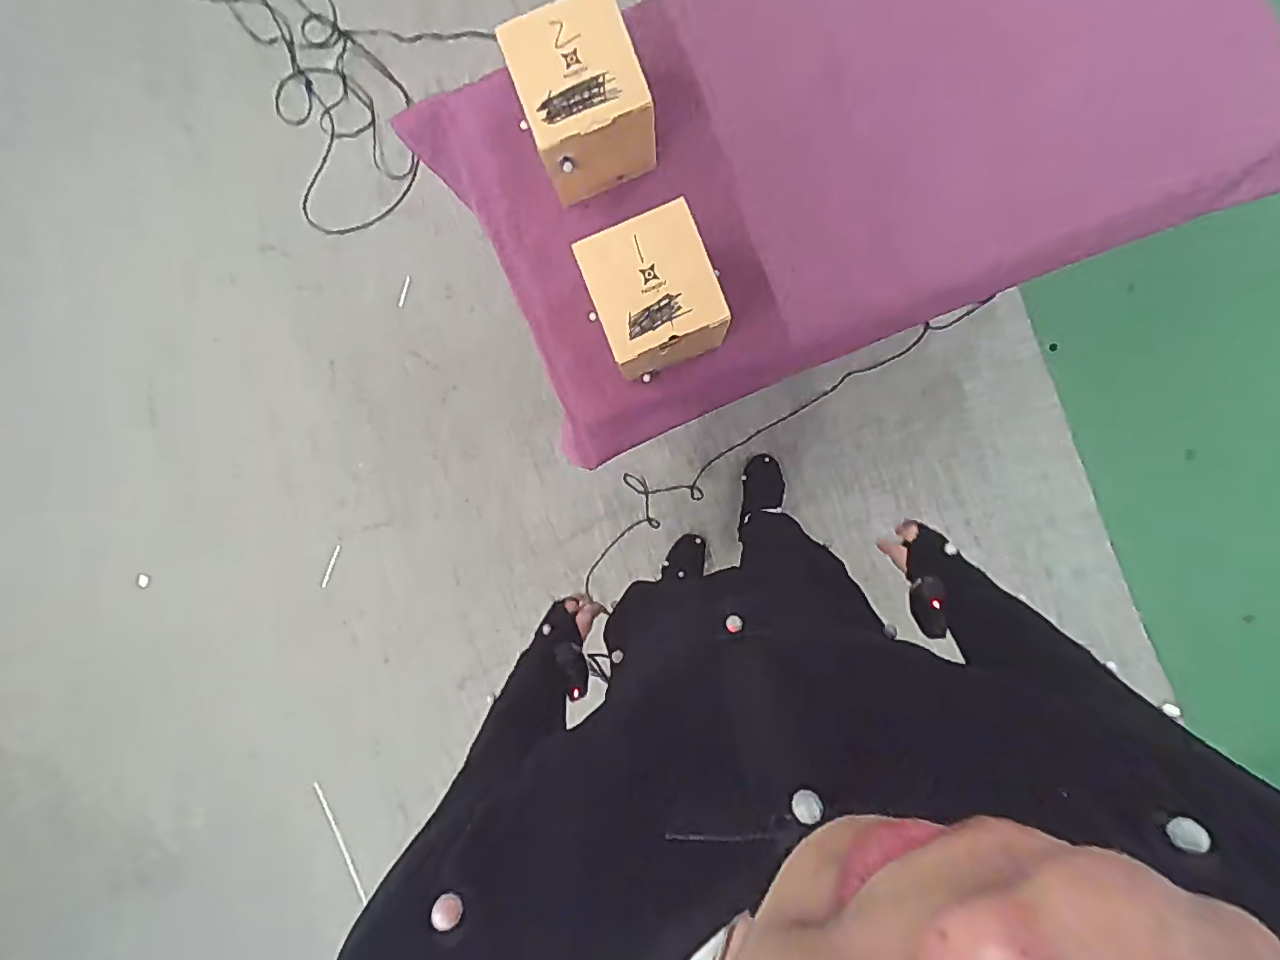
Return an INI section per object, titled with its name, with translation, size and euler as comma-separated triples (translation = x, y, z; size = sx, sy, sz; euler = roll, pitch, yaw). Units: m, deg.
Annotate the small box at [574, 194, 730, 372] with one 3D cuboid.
[small box]
translation = 0.021, -0.271, 0.796
size = 0.168, 0.176, 0.179
euler = -22, 90, 3
